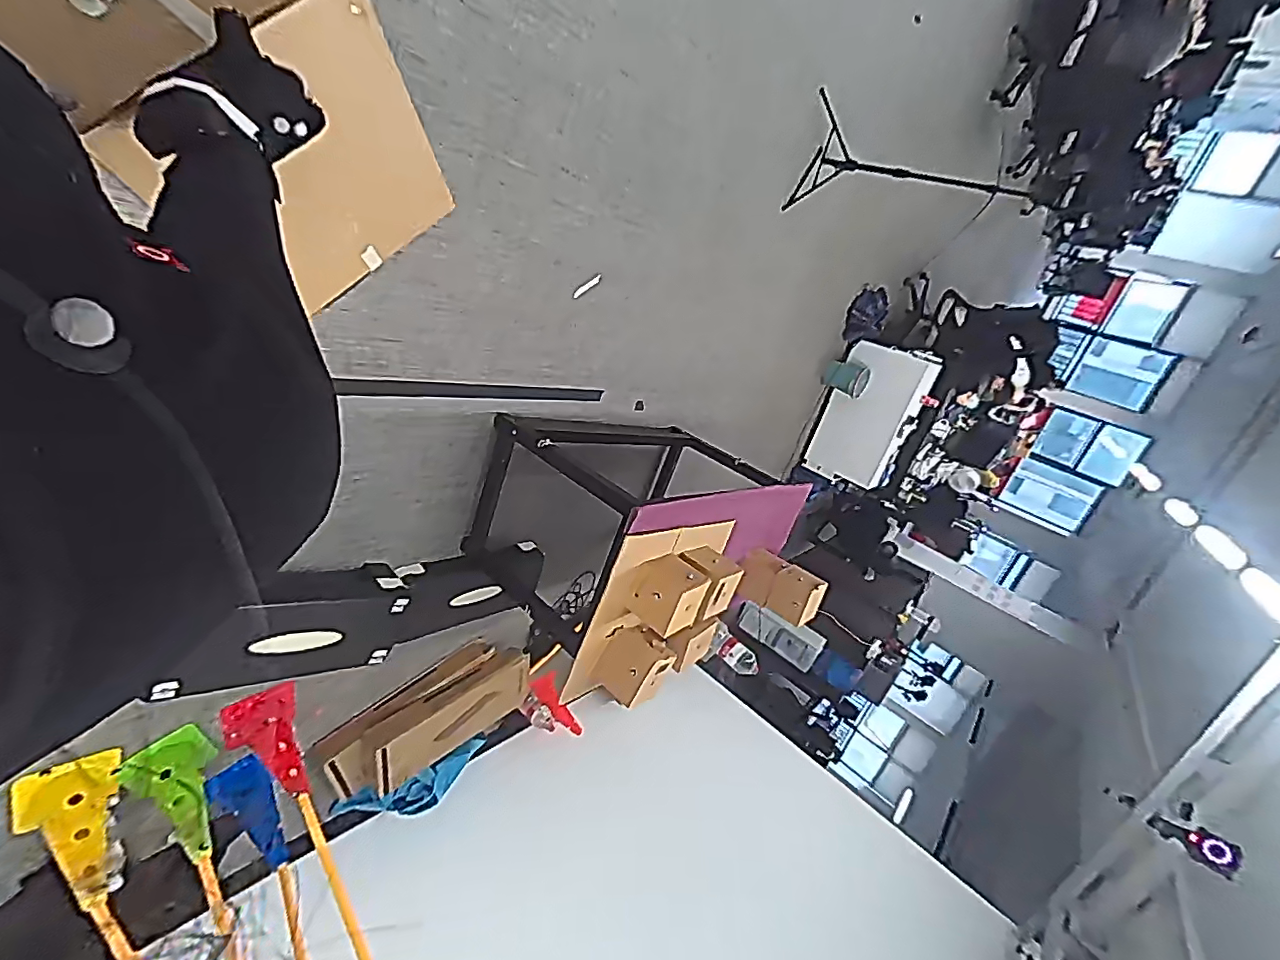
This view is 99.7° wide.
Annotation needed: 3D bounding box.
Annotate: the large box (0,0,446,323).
[{"bbox_3d":[-0.535,-0.489,0.688,0.320,0.408,0.320,-46,170,-11],"label":"large box"}]
